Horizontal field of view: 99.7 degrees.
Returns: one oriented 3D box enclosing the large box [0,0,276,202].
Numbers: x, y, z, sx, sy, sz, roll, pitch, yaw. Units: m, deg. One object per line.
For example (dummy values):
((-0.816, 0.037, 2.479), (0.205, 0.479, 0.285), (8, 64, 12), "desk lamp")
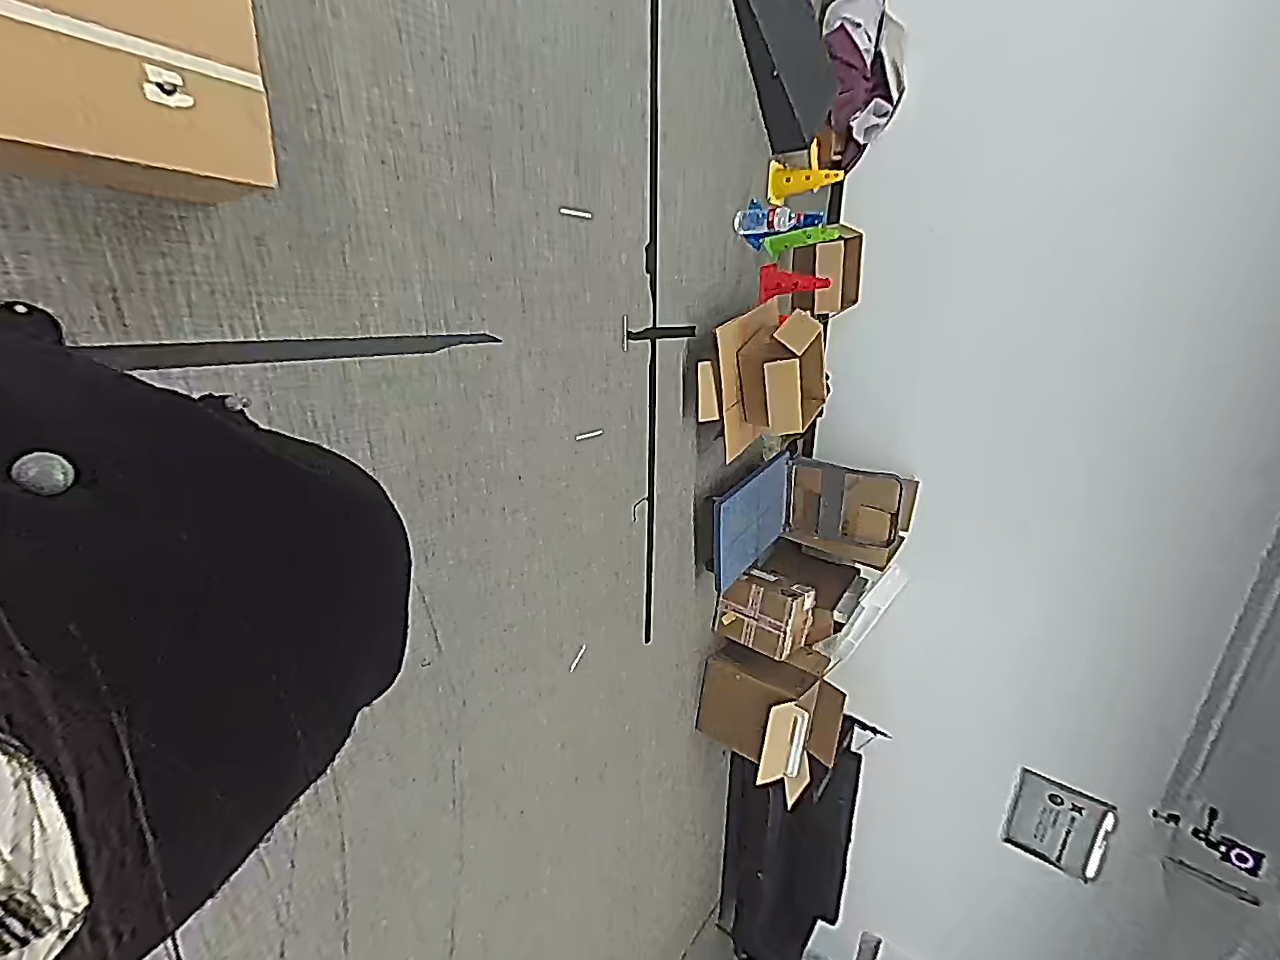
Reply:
((-0.878, -0.652, 0.847), (0.408, 0.320, 0.320), (-19, 117, -50), "large box")
